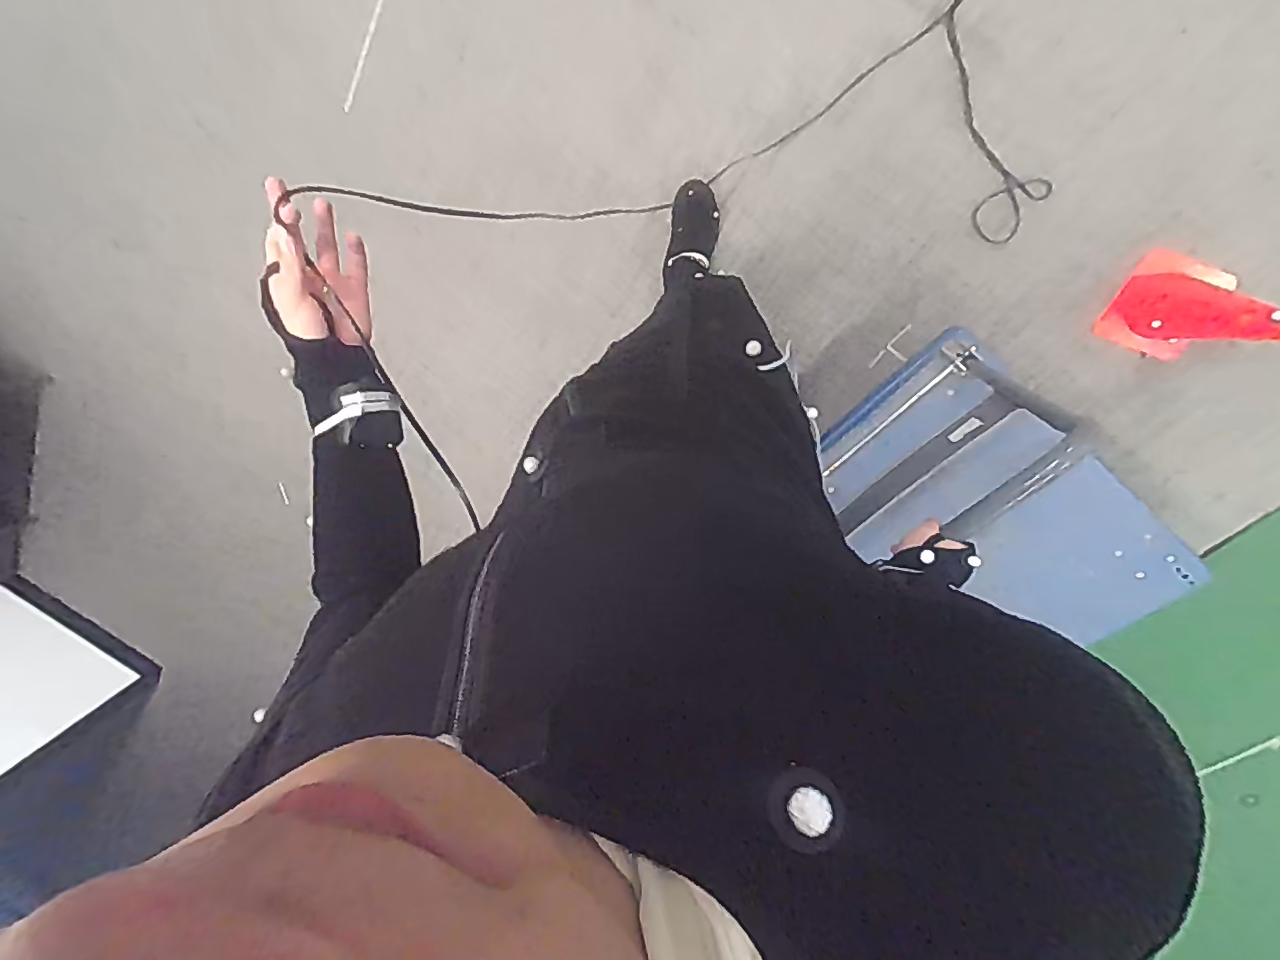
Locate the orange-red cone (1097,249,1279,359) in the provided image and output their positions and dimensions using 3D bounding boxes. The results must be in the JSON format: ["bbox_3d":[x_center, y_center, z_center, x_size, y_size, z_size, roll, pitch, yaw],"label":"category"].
[{"bbox_3d":[1.147,-0.324,1.067,0.198,0.360,0.199,24,116,1],"label":"orange-red cone"}]
